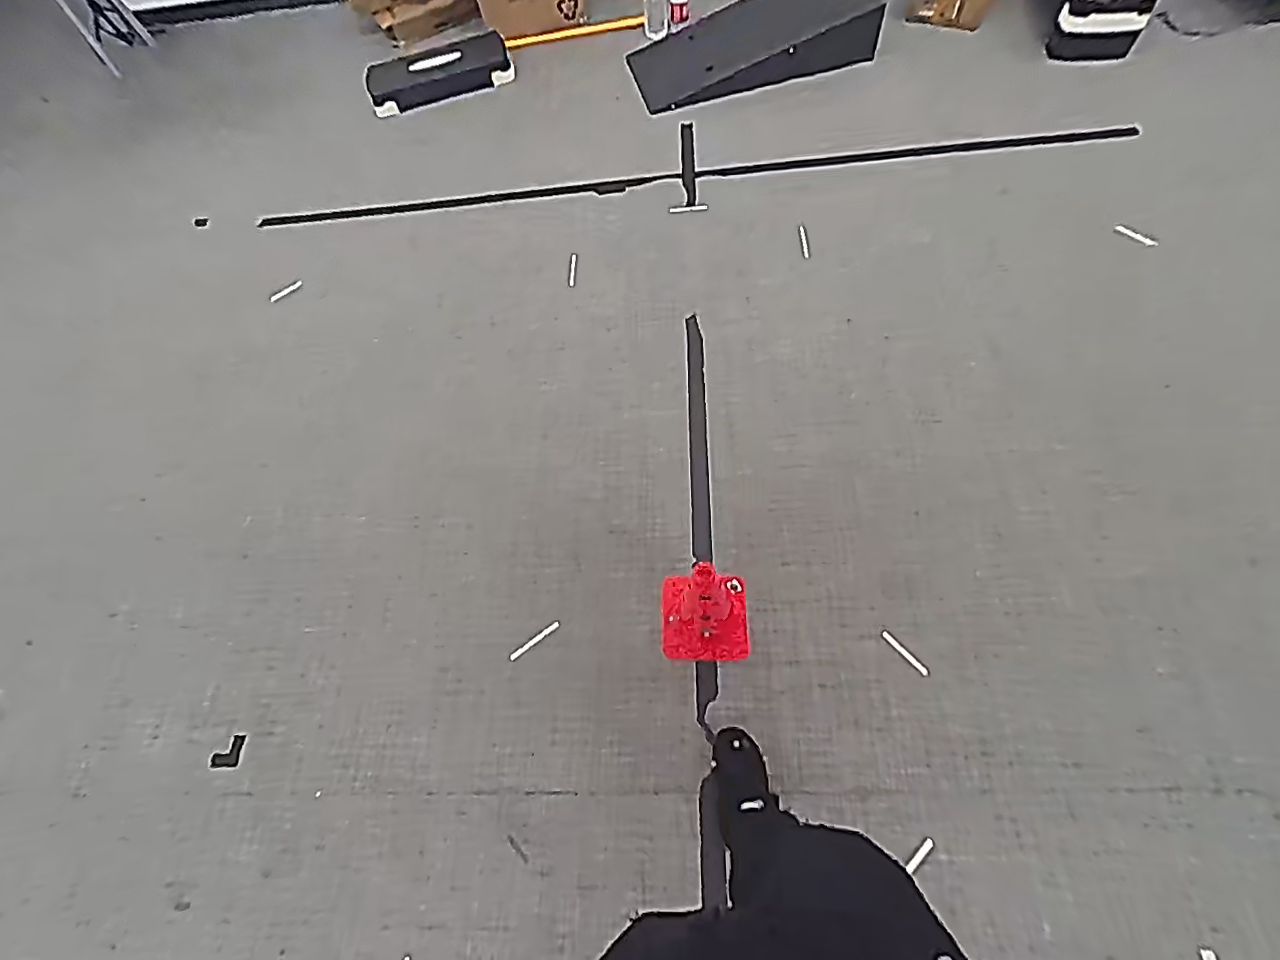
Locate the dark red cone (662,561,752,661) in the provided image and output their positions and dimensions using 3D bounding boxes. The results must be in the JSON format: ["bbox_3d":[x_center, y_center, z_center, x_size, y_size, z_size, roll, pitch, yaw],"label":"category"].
[{"bbox_3d":[0.133,0.244,1.120,0.201,0.394,0.202,-4,63,6],"label":"dark red cone"}]
